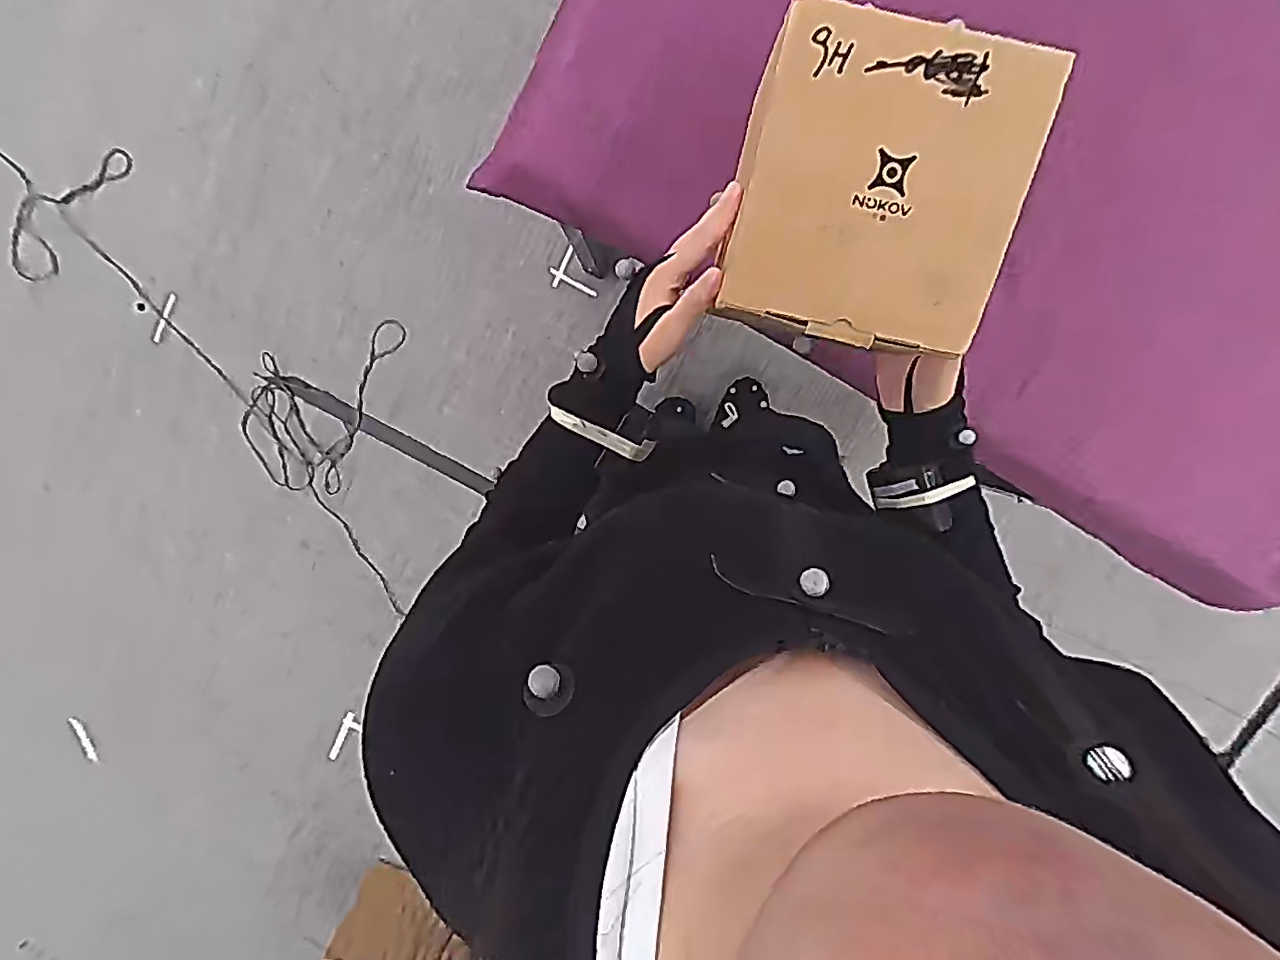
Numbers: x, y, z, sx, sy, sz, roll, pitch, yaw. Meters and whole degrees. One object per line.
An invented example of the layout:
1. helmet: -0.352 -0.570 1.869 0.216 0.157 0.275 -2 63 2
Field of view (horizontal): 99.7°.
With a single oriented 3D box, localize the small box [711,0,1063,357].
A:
1. small box: 0.154 -0.202 0.413 0.168 0.176 0.179 13 106 -1
